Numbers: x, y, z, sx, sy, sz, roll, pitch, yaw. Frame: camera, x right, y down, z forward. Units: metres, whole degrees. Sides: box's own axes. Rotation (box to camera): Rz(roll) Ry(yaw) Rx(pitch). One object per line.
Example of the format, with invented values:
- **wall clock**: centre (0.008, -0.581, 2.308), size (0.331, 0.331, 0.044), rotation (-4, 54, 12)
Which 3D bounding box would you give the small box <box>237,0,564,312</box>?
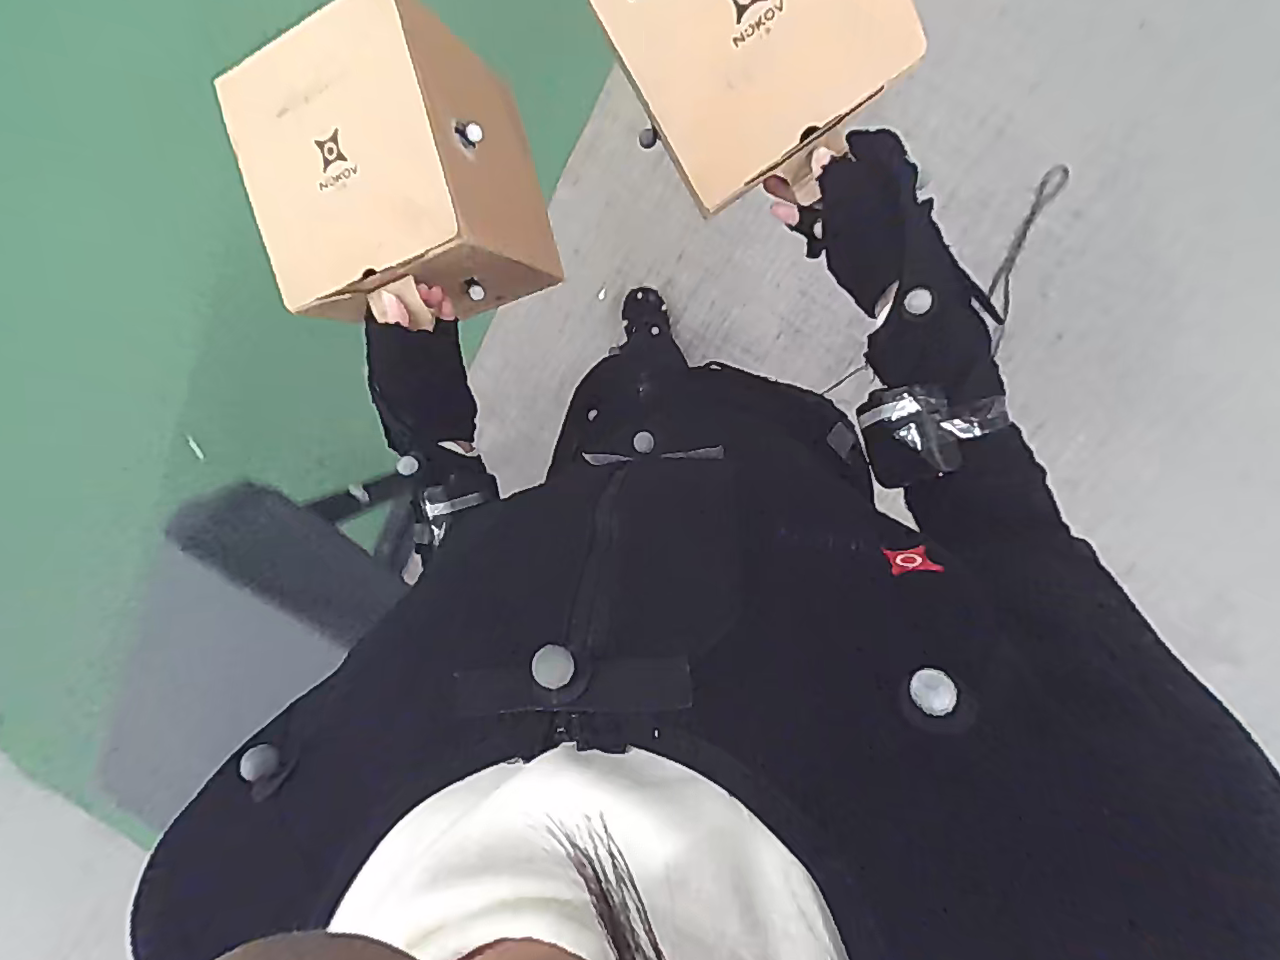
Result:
- **small box**: centre (-0.185, -0.254, 0.464), size (0.168, 0.176, 0.179), rotation (-13, 95, 19)
